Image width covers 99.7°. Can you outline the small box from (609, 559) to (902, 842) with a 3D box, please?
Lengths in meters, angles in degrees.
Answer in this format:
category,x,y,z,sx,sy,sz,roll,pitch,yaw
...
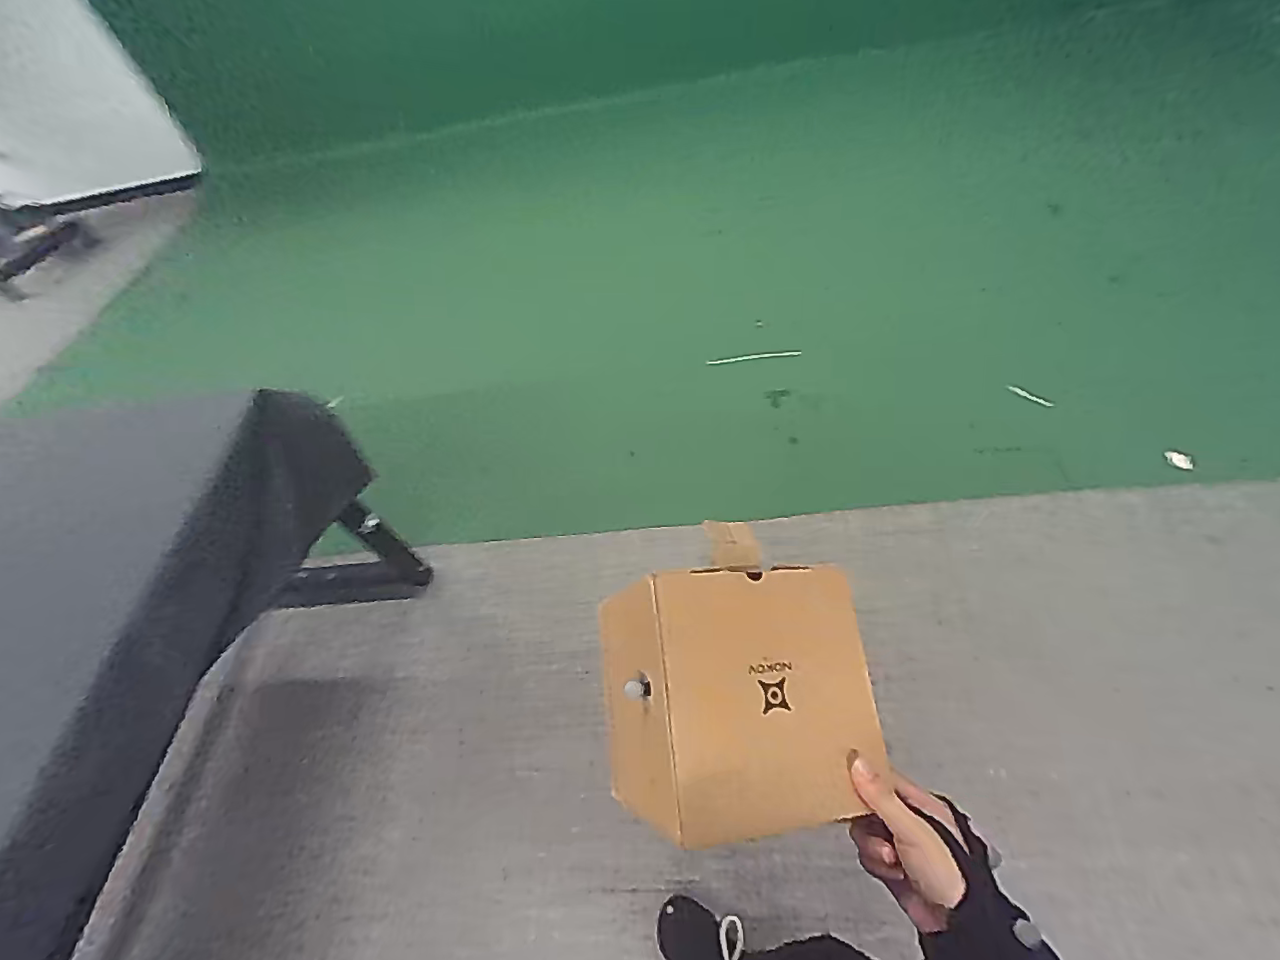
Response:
category,x,y,z,sx,sy,sz,roll,pitch,yaw
small box,0.075,0.170,0.450,0.168,0.176,0.179,2,68,-18
